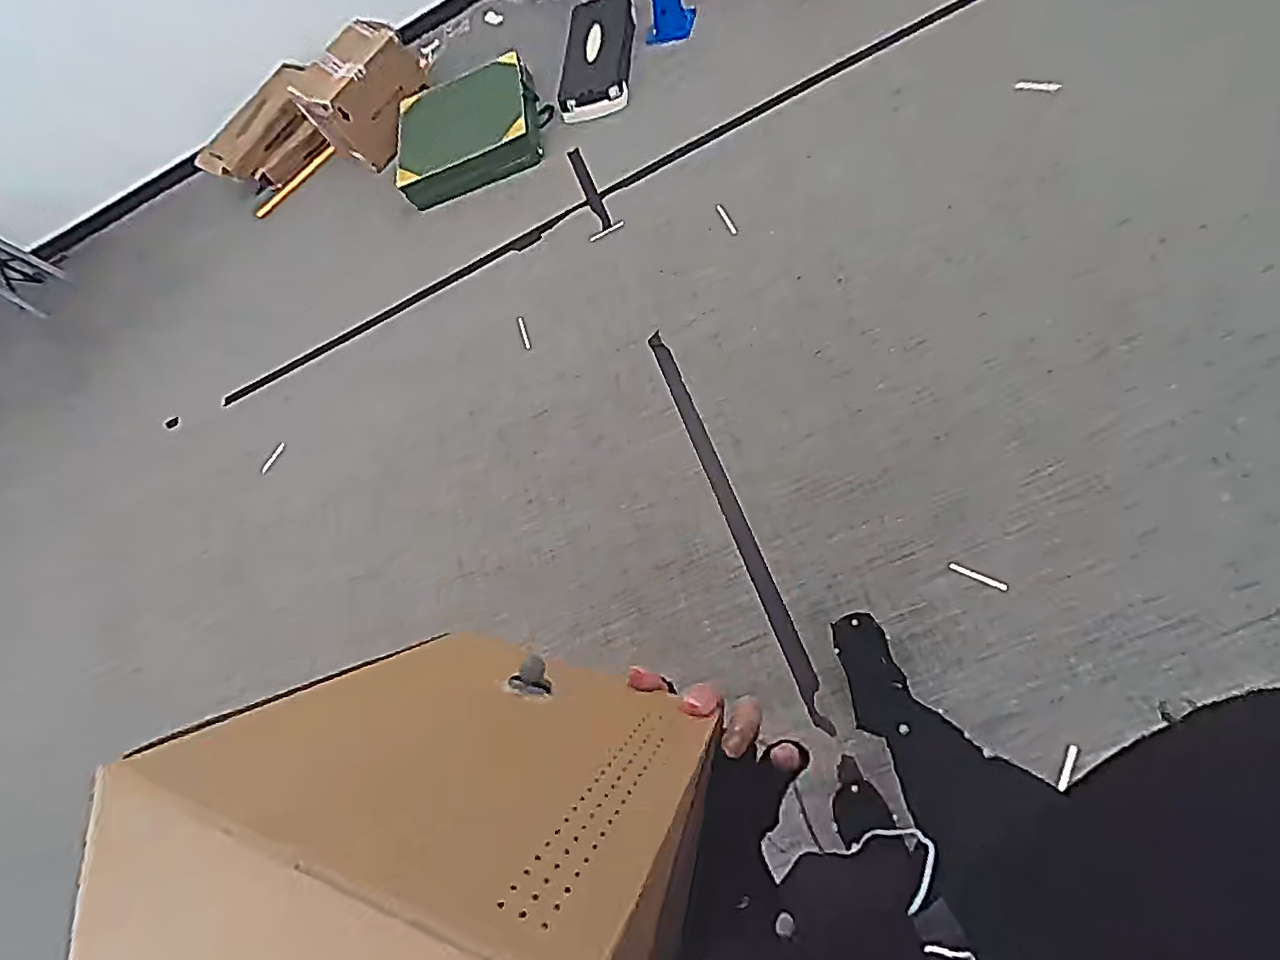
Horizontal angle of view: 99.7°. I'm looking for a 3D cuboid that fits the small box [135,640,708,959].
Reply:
[{"bbox_3d":[-0.071,0.190,0.240,0.176,0.179,0.168,9,91,18],"label":"small box"}]
